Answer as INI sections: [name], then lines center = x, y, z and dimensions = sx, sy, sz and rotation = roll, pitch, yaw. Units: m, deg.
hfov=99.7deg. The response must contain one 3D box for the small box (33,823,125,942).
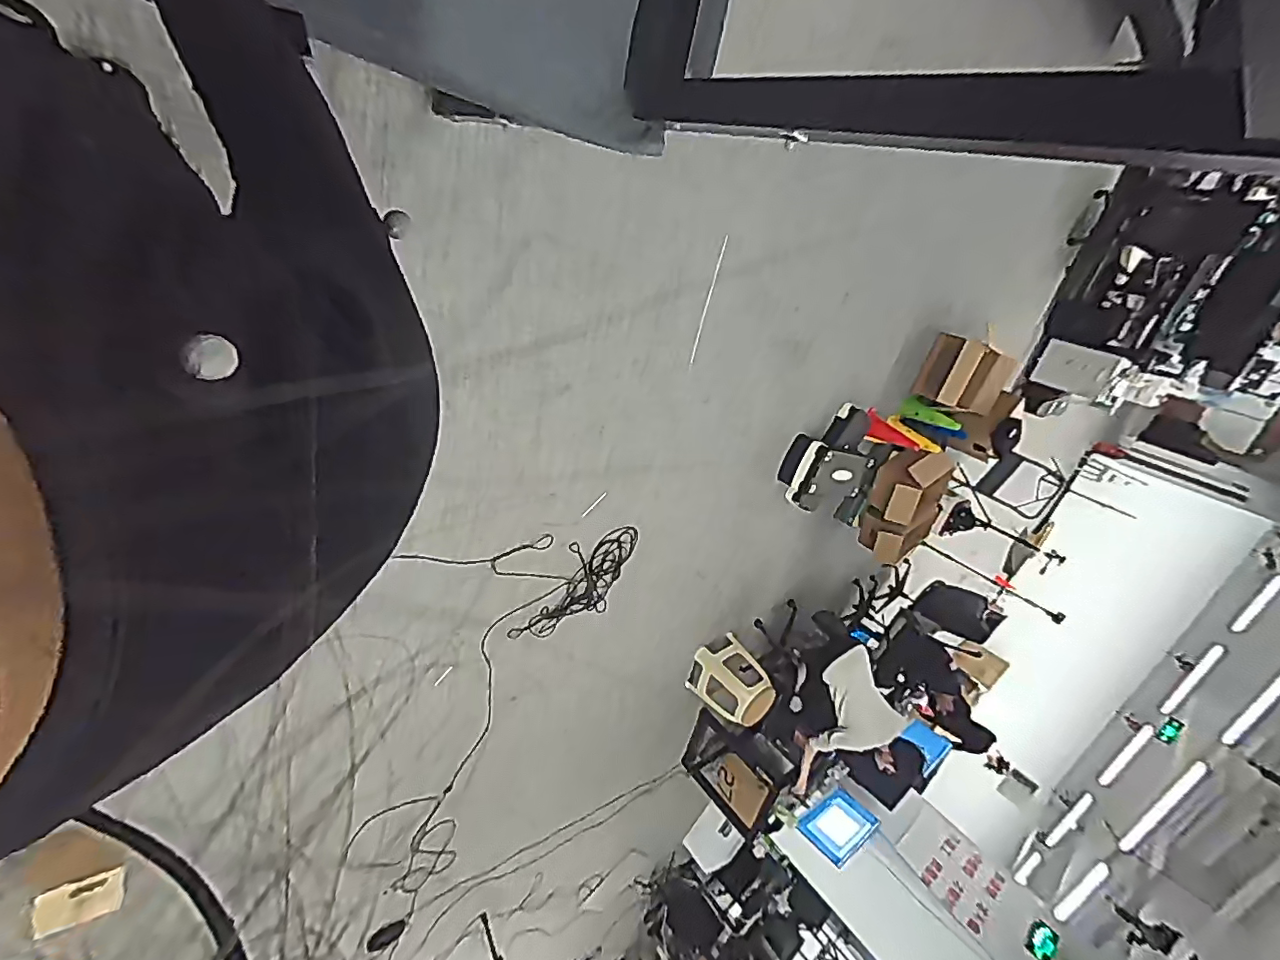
[small box]
center = -1.512, 1.071, 1.461
dimensions = 0.168, 0.176, 0.179
rotation = 3, 116, -44
